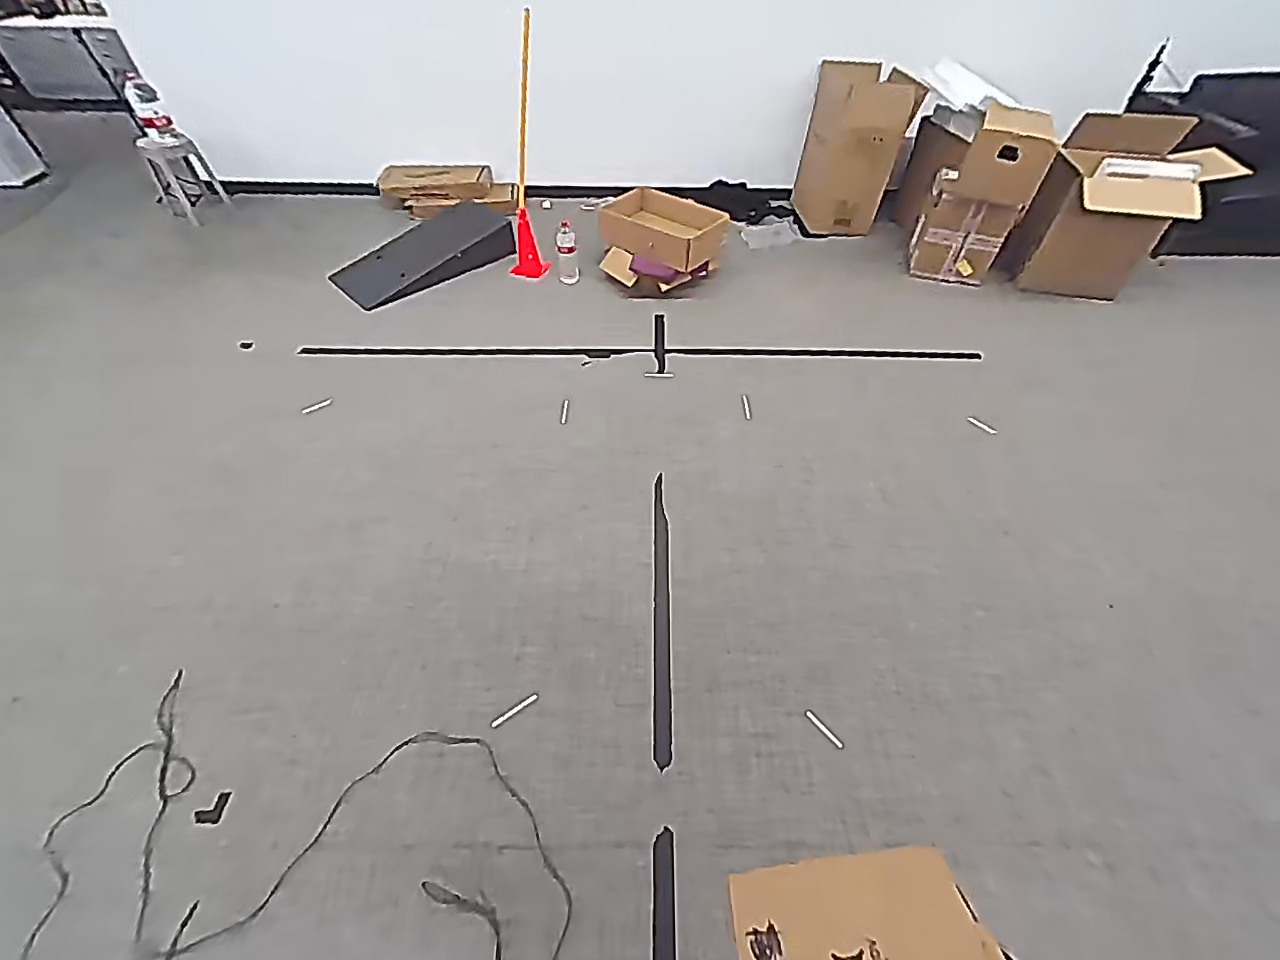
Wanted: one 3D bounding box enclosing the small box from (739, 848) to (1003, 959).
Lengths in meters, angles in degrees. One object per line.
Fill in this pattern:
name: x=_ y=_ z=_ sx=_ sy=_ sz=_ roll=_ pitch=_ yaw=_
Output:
small box: x=0.182 y=0.420 z=0.399 sx=0.179 sy=0.176 sz=0.168 roll=-12 pitch=12 yaw=5
